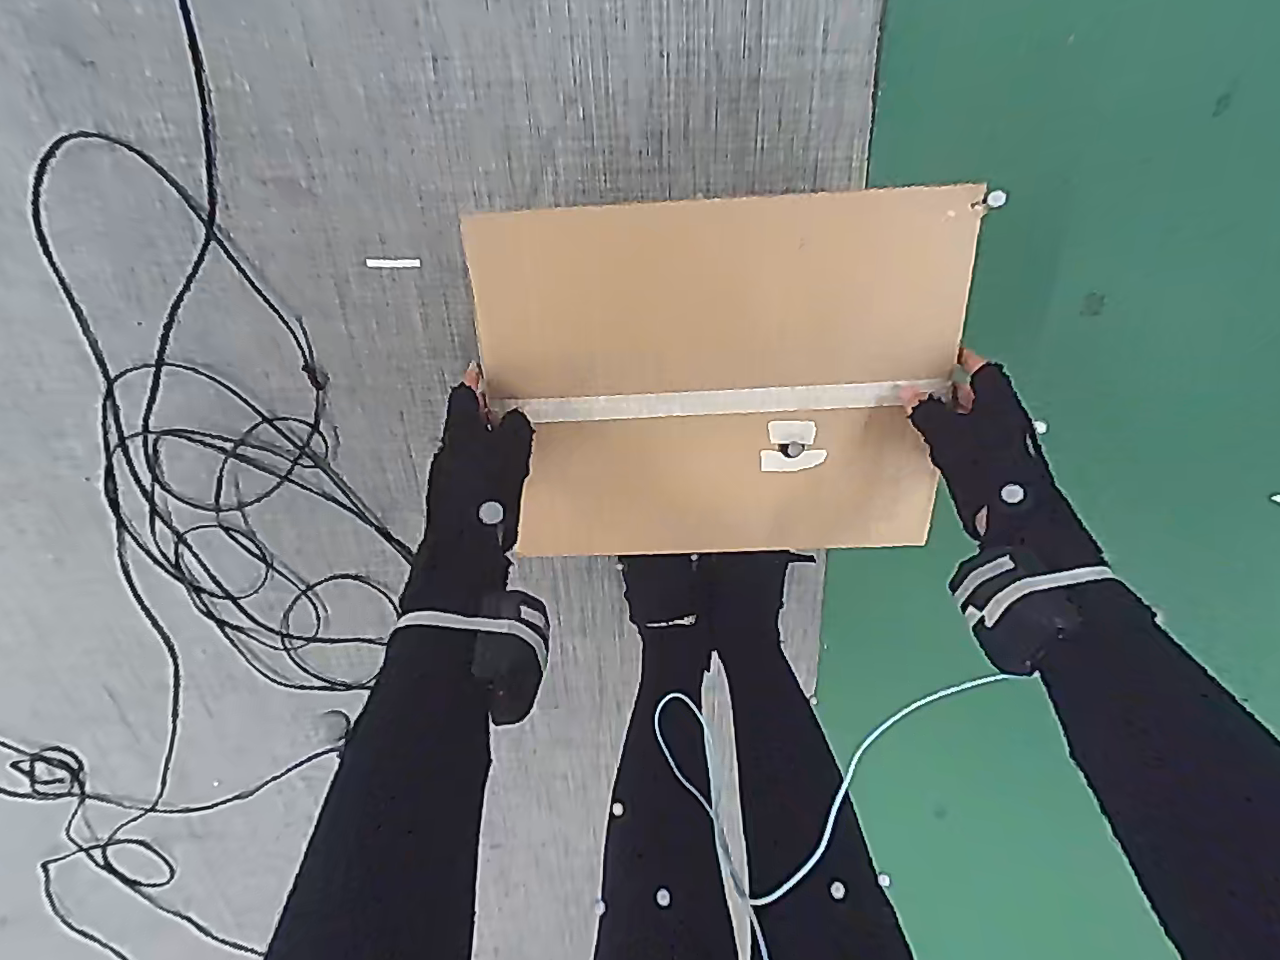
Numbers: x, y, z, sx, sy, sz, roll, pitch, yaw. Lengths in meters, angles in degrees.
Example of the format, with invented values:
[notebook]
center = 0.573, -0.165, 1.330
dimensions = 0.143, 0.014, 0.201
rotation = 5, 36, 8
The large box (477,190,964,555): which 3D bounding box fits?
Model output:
[large box]
center = 0.072, -0.131, 0.629
dimensions = 0.408, 0.320, 0.320
rotation = -3, 113, 2
